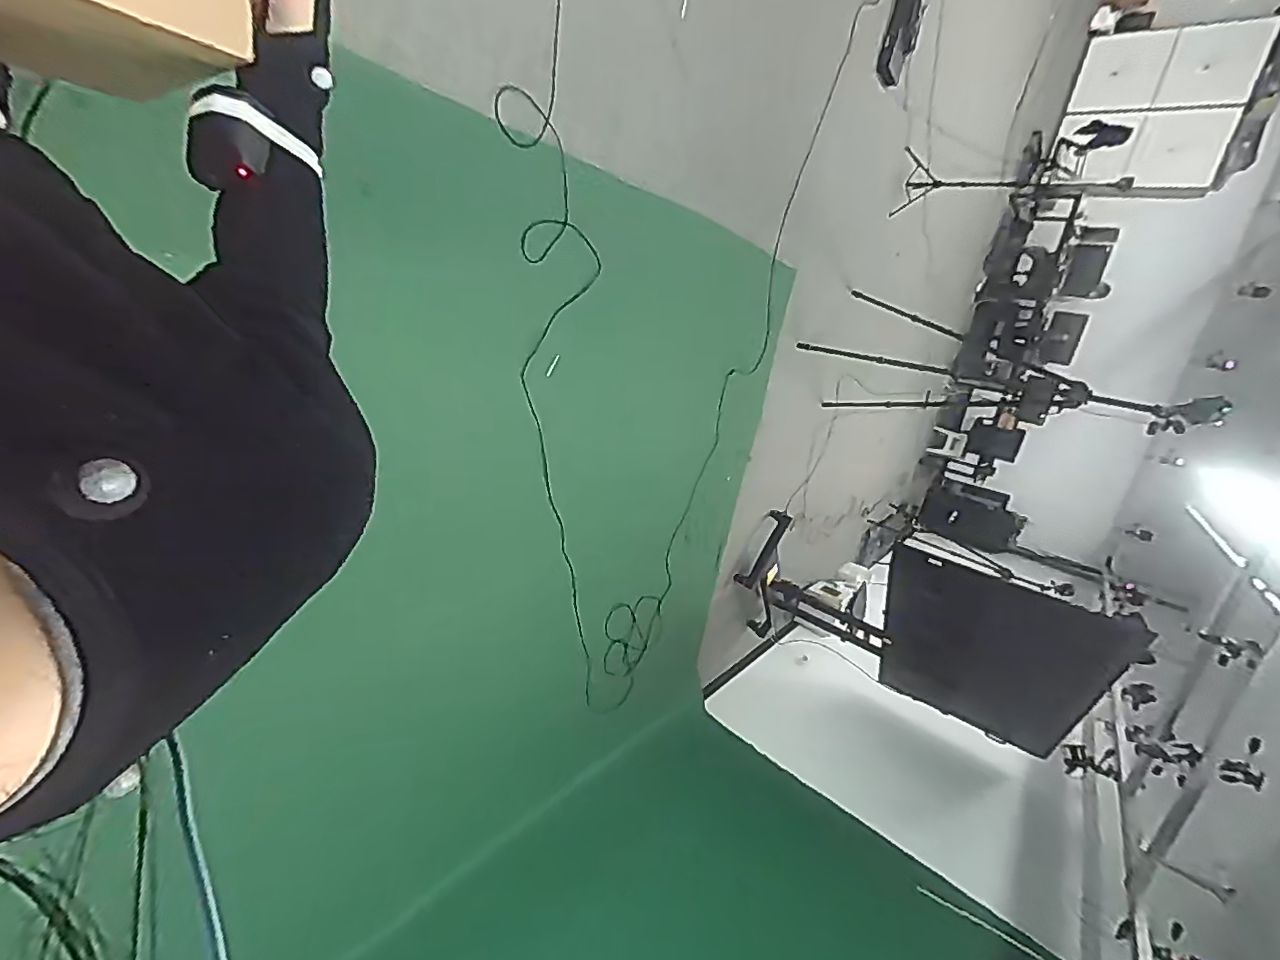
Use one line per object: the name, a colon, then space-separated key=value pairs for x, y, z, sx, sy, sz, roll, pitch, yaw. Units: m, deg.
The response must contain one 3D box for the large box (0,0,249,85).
large box: x=-0.527 y=-0.491 z=0.314 sx=0.408 sy=0.320 sz=0.320 roll=-15 pitch=118 yaw=-50
